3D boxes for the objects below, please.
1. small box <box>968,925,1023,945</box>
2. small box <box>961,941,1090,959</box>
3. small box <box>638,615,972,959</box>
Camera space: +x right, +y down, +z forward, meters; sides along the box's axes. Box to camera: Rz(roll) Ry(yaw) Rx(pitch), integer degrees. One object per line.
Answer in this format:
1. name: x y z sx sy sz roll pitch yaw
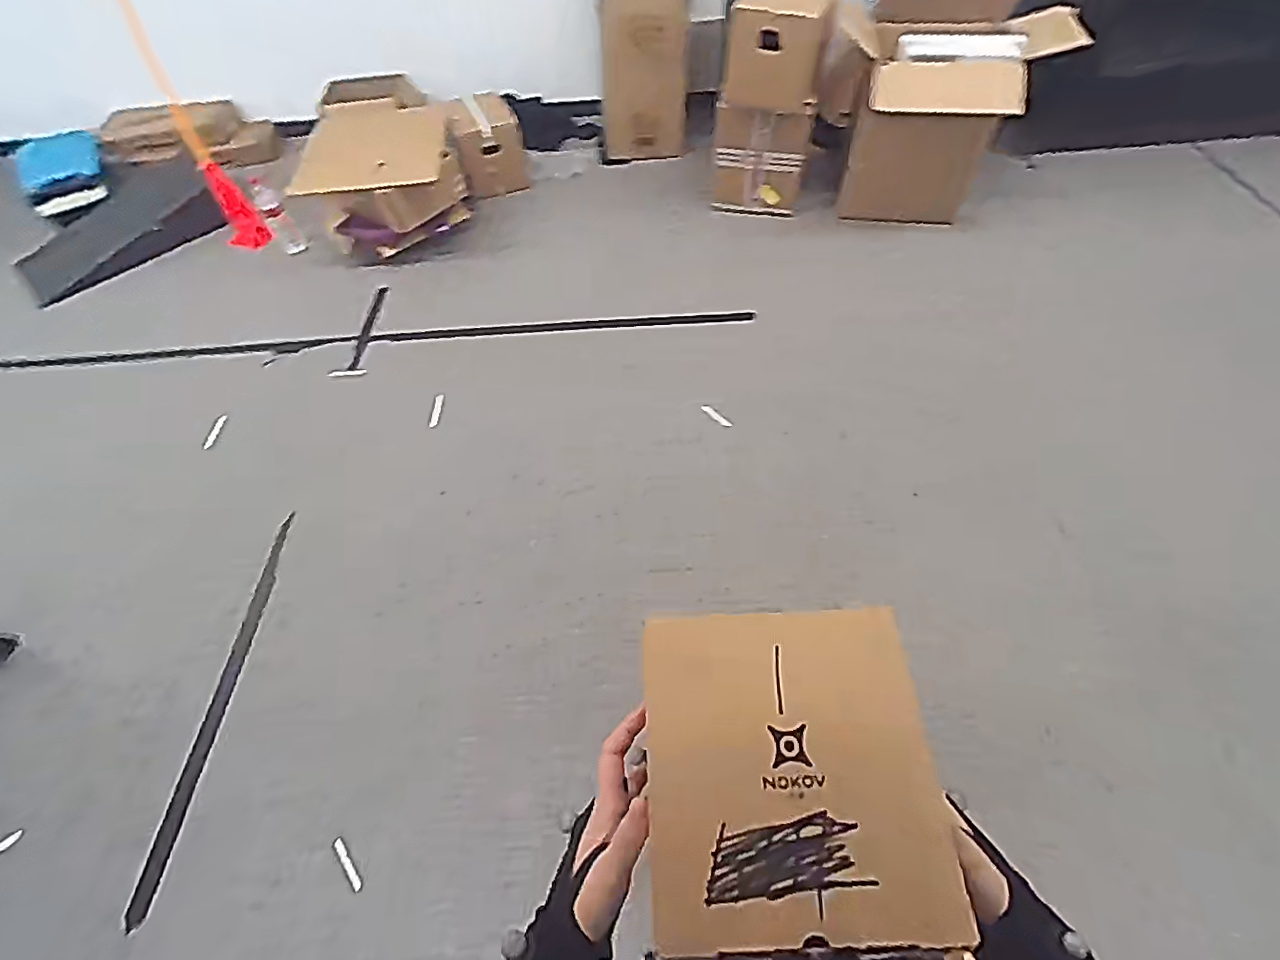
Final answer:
1. small box: 0.524 0.836 0.878 0.168 0.176 0.179 -1 55 3
2. small box: 0.520 0.750 0.738 0.179 0.176 0.168 -2 55 3
3. small box: 0.087 0.206 0.382 0.168 0.176 0.179 -3 61 0
